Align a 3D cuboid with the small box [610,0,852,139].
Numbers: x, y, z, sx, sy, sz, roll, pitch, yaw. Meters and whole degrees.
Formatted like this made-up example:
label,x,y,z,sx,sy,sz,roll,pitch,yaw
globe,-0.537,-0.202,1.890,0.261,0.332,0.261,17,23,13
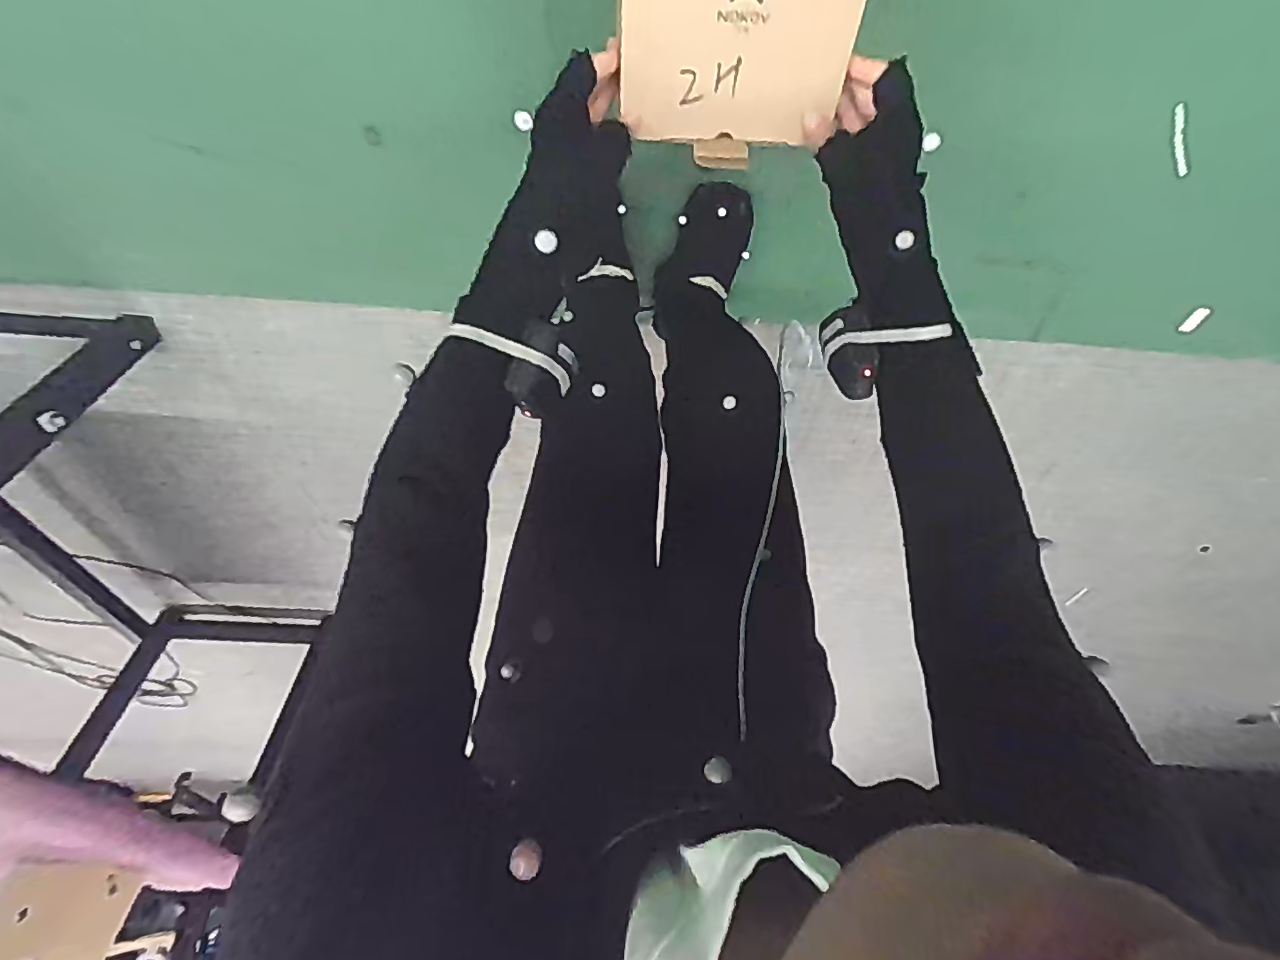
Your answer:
label,x,y,z,sx,sy,sz,roll,pitch,yaw
small box,0.061,-0.390,0.415,0.168,0.176,0.179,0,140,-3
